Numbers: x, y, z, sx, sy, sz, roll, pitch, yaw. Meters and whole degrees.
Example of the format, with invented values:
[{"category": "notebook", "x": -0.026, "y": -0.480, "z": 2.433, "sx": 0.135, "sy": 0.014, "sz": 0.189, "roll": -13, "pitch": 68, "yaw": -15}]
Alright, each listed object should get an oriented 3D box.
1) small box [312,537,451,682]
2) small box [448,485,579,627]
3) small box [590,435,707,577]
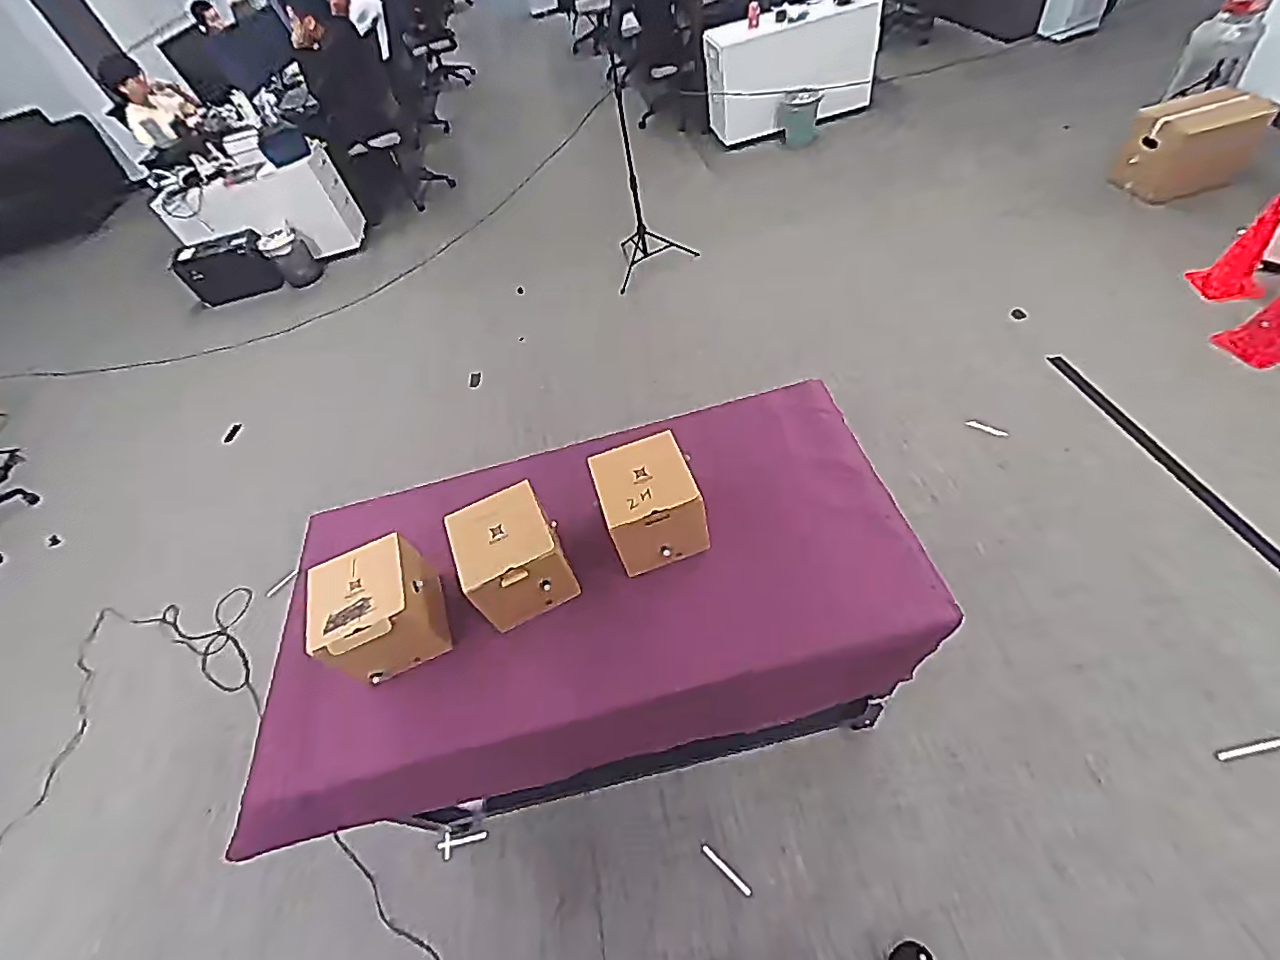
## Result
[{"category": "small box", "x": -0.461, "y": 0.242, "z": 0.977, "sx": 0.168, "sy": 0.176, "sz": 0.179, "roll": -24, "pitch": 50, "yaw": -7}, {"category": "small box", "x": -0.229, "y": 0.148, "z": 0.999, "sx": 0.168, "sy": 0.176, "sz": 0.179, "roll": -25, "pitch": 51, "yaw": -8}, {"category": "small box", "x": 0.018, "y": 0.051, "z": 1.016, "sx": 0.168, "sy": 0.176, "sz": 0.179, "roll": -19, "pitch": 51, "yaw": -2}]
